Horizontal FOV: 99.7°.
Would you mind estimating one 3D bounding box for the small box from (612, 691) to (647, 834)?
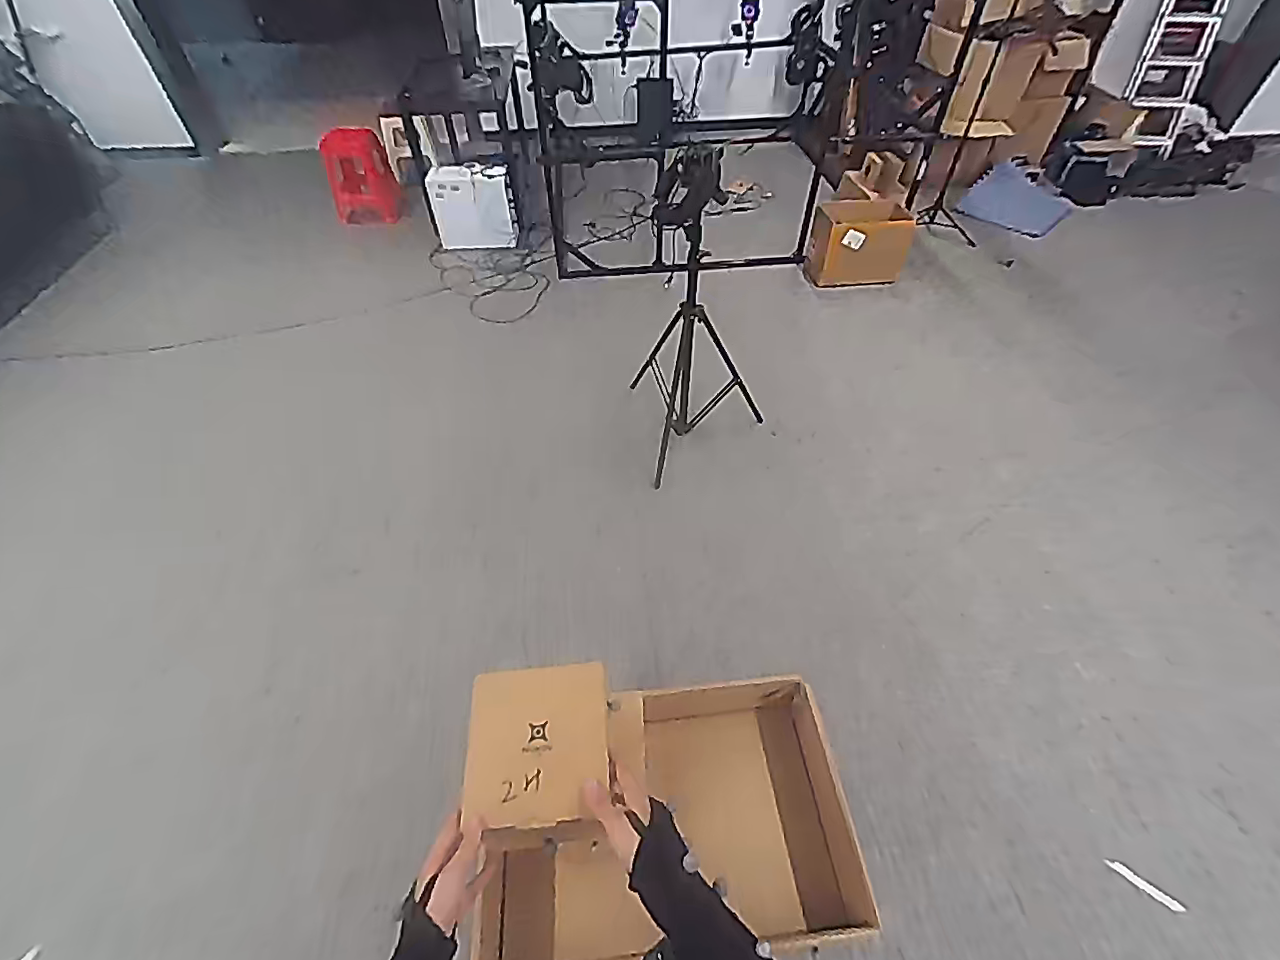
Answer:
[{"bbox_3d":[-0.073,0.456,0.865,0.168,0.176,0.179,-1,49,-2],"label":"small box"}]

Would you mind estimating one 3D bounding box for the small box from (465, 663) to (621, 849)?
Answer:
[{"bbox_3d":[-0.114,0.358,0.699,0.168,0.176,0.179,-5,52,-2],"label":"small box"}]

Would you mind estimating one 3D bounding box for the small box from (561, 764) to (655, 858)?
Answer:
[{"bbox_3d":[-0.069,0.565,0.989,0.168,0.176,0.179,-6,49,-5],"label":"small box"}]
